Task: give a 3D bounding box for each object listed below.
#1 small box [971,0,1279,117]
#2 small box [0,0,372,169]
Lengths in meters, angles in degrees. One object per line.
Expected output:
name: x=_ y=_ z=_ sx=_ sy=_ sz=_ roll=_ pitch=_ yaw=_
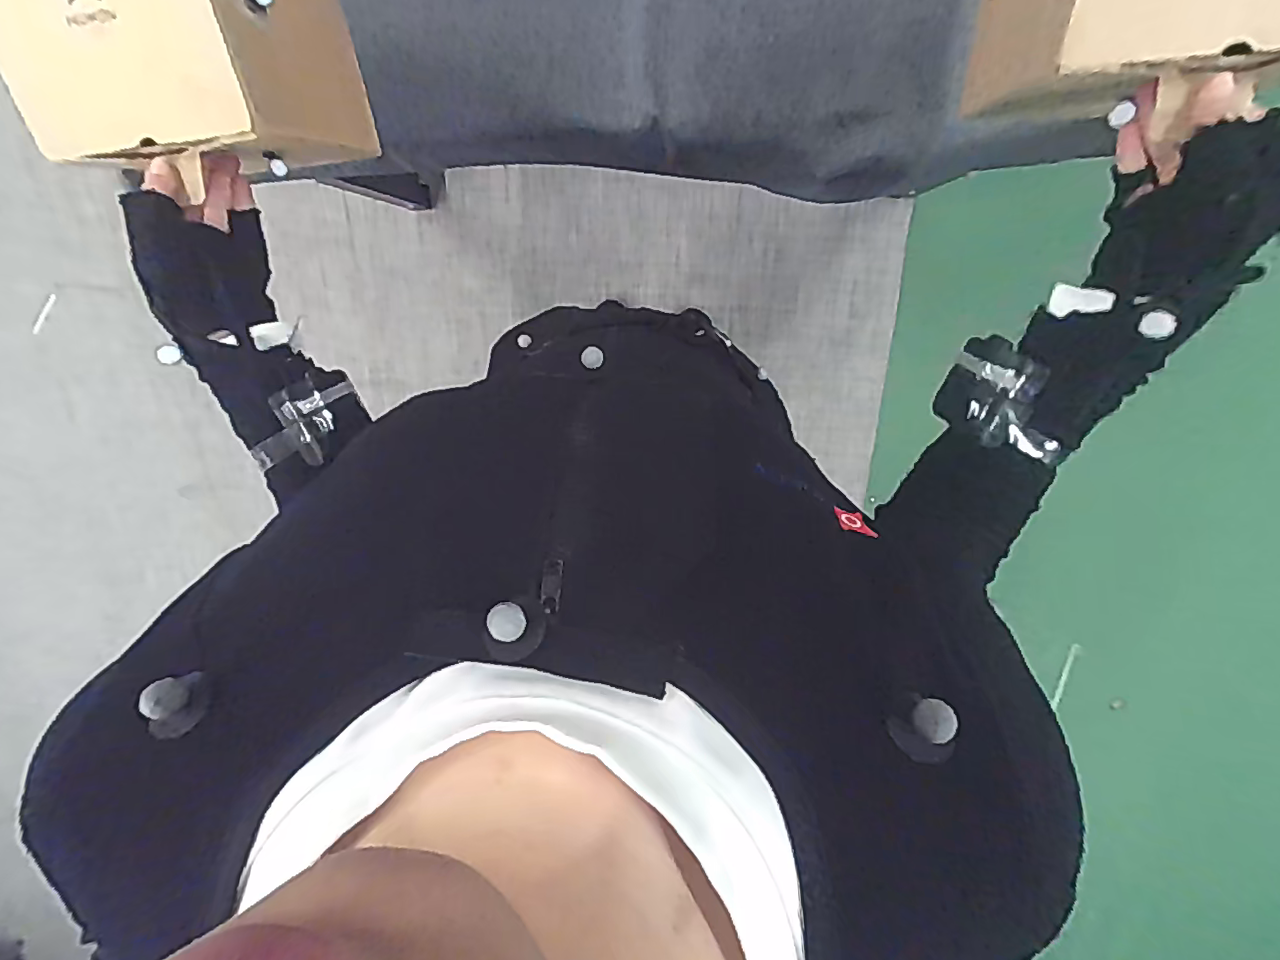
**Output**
small box: x=0.323 y=-0.325 z=0.316 sx=0.168 sy=0.176 sz=0.179 roll=4 pitch=117 yaw=10
small box: x=-0.332 y=-0.337 z=0.397 sx=0.168 sy=0.176 sz=0.179 roll=-3 pitch=116 yaw=7
